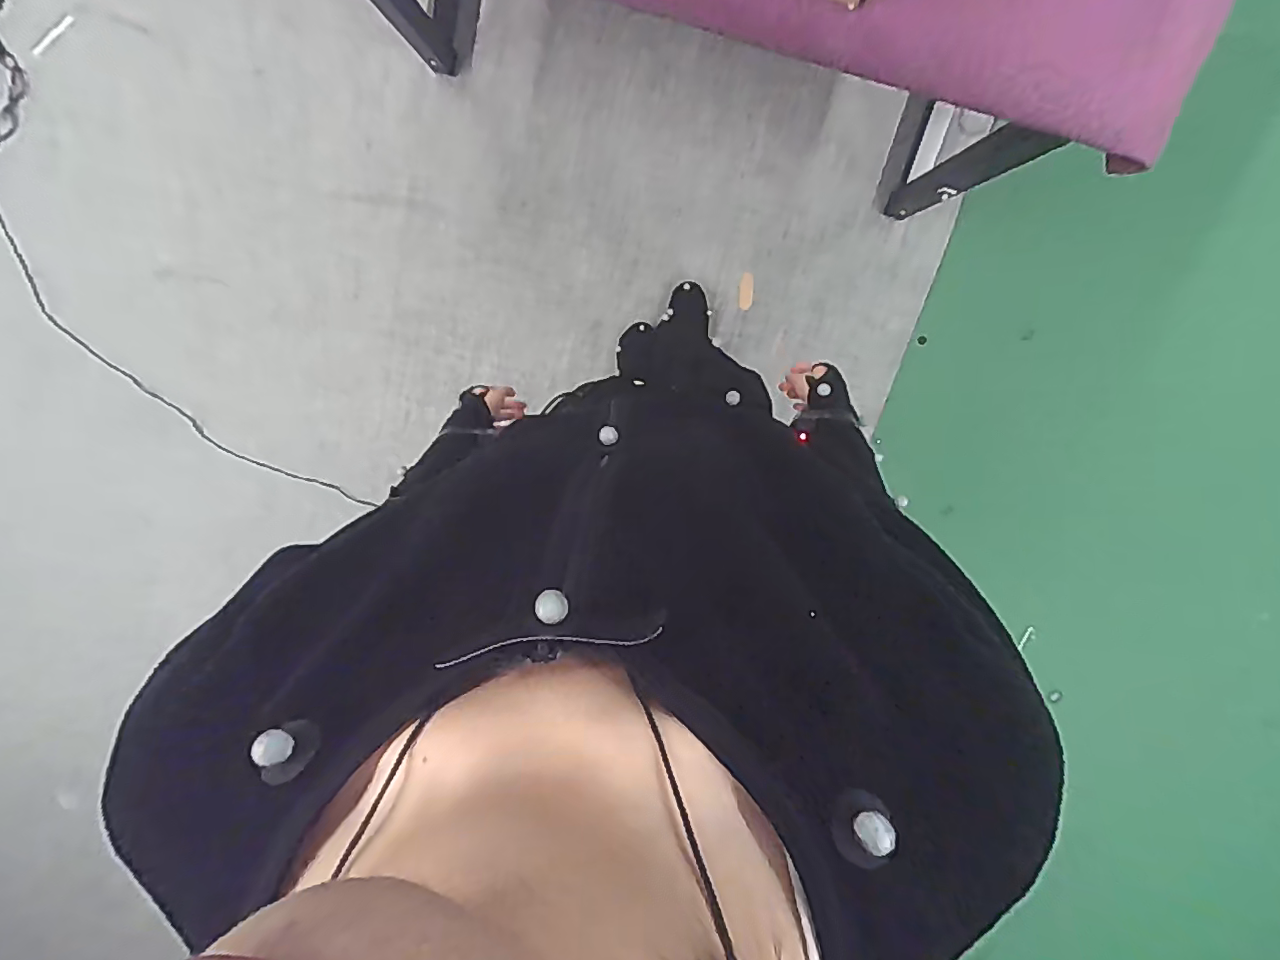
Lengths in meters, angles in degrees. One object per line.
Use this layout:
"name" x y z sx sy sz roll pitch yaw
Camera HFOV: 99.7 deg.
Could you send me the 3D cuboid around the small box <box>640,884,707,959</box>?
"small box" 0.083 1.213 1.428 0.168 0.176 0.179 2 104 2
